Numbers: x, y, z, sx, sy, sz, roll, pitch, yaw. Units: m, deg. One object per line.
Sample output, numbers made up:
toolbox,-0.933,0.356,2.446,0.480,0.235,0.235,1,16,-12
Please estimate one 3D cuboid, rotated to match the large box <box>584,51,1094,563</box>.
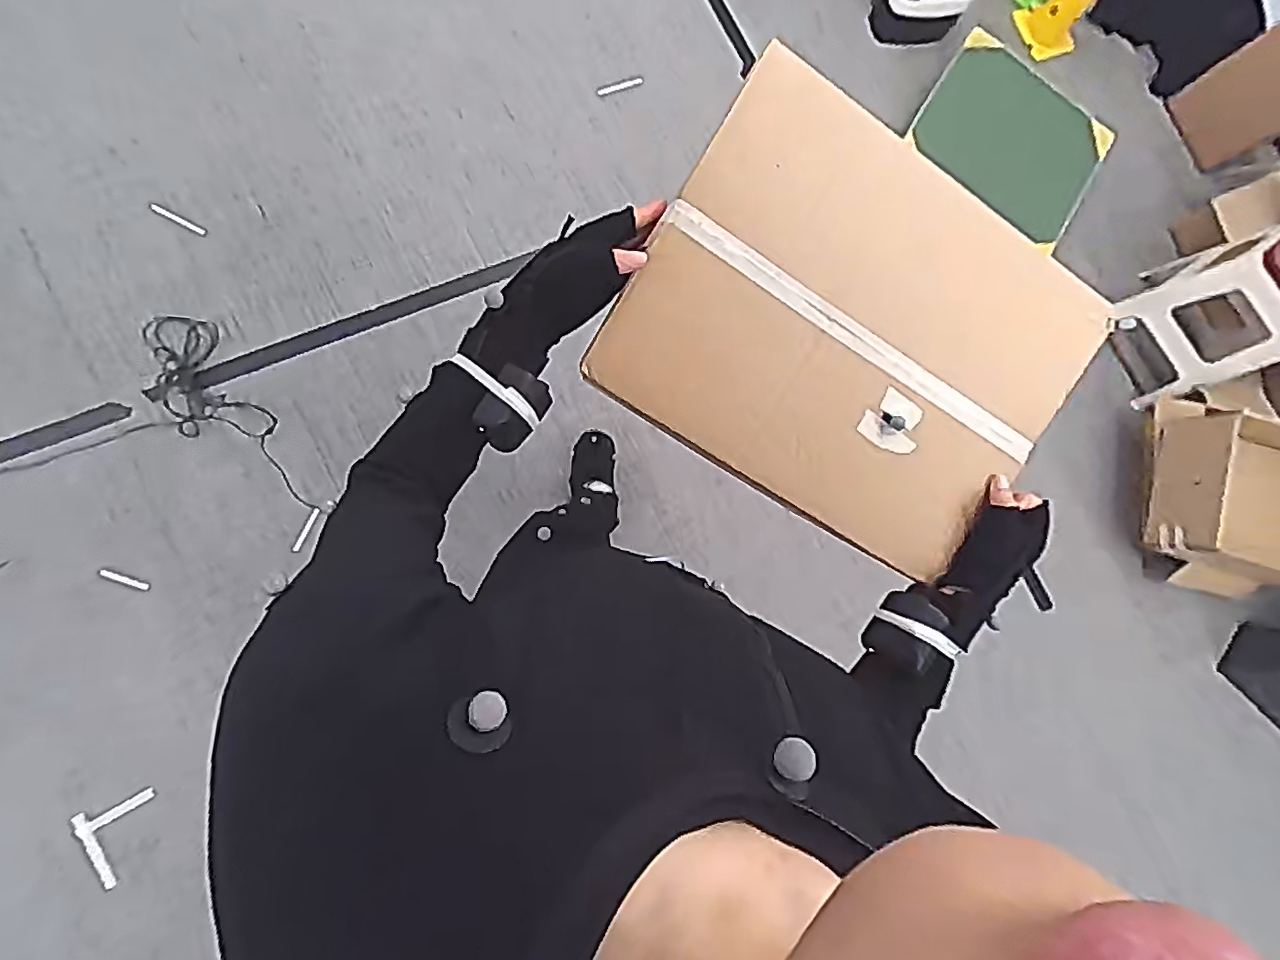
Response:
large box,0.179,-0.164,0.647,0.408,0.320,0.320,31,96,-11
